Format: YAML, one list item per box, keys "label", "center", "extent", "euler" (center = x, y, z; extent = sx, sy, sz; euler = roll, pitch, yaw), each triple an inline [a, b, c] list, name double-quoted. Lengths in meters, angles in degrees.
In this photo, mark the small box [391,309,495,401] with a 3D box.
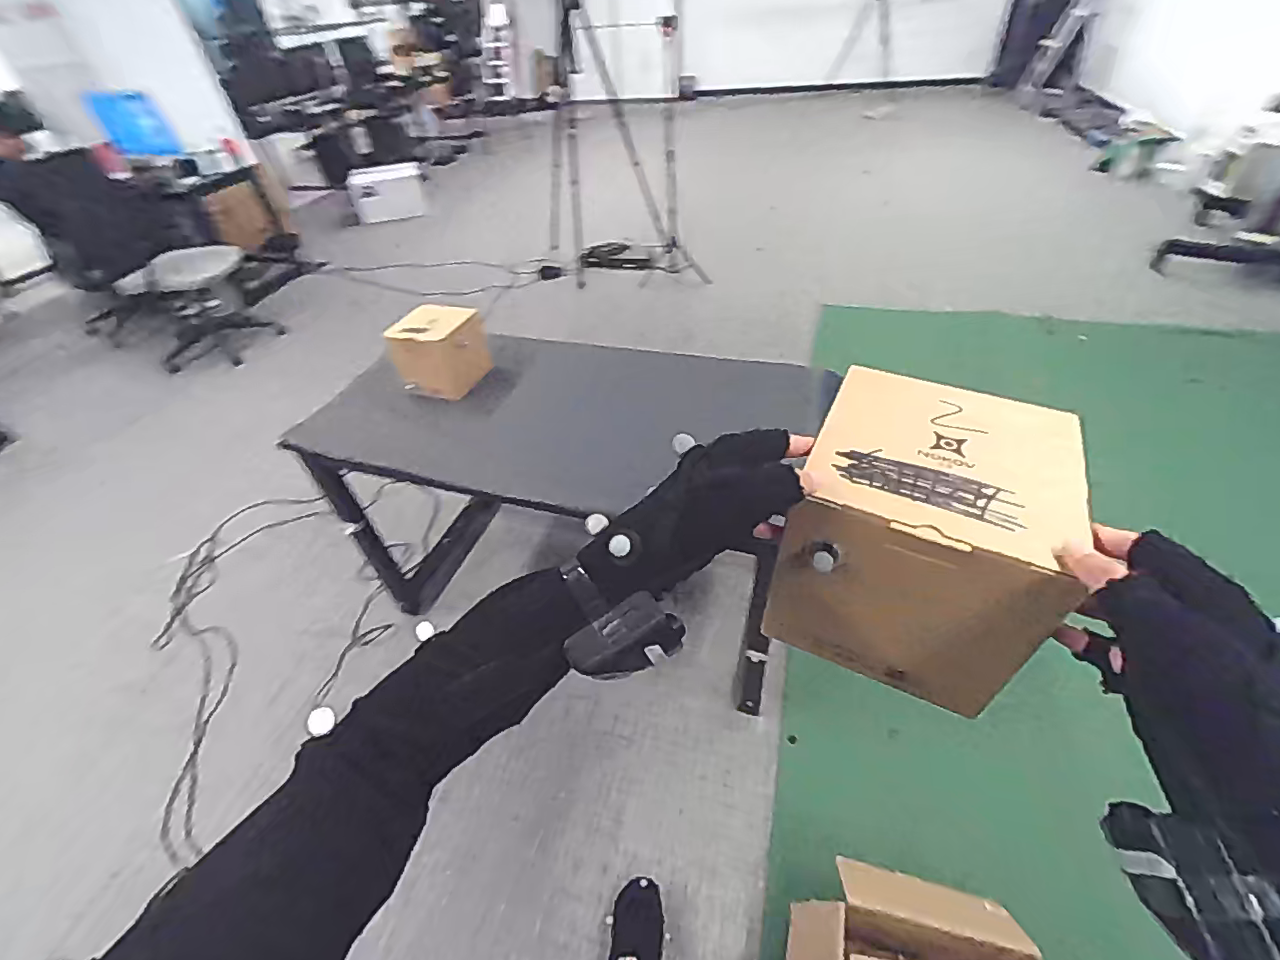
- label: "small box"
  center: [-0.501, -0.323, 1.406]
  extent: [0.168, 0.176, 0.179]
  euler: [11, 44, 16]
